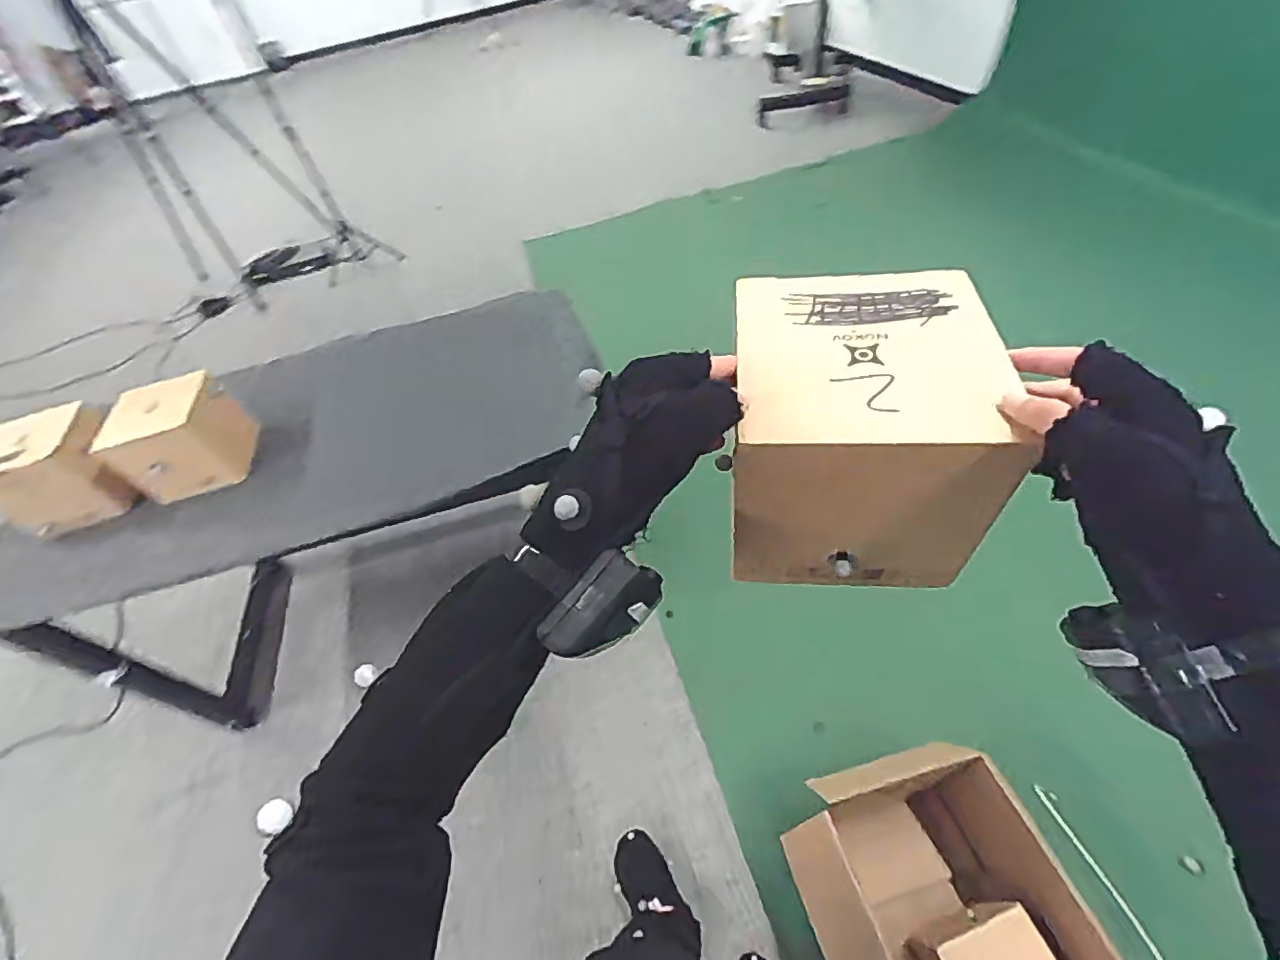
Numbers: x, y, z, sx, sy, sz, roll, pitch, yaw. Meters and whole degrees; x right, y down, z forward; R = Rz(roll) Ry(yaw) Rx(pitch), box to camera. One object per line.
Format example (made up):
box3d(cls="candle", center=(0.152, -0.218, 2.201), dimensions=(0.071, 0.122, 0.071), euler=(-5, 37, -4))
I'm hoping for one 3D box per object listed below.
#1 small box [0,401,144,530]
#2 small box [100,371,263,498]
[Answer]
box3d(cls="small box", center=(-1.129, -0.021, 1.073), dimensions=(0.168, 0.176, 0.179), euler=(-19, 49, -7))
box3d(cls="small box", center=(-0.902, -0.084, 1.088), dimensions=(0.168, 0.176, 0.179), euler=(-17, 49, -4))
